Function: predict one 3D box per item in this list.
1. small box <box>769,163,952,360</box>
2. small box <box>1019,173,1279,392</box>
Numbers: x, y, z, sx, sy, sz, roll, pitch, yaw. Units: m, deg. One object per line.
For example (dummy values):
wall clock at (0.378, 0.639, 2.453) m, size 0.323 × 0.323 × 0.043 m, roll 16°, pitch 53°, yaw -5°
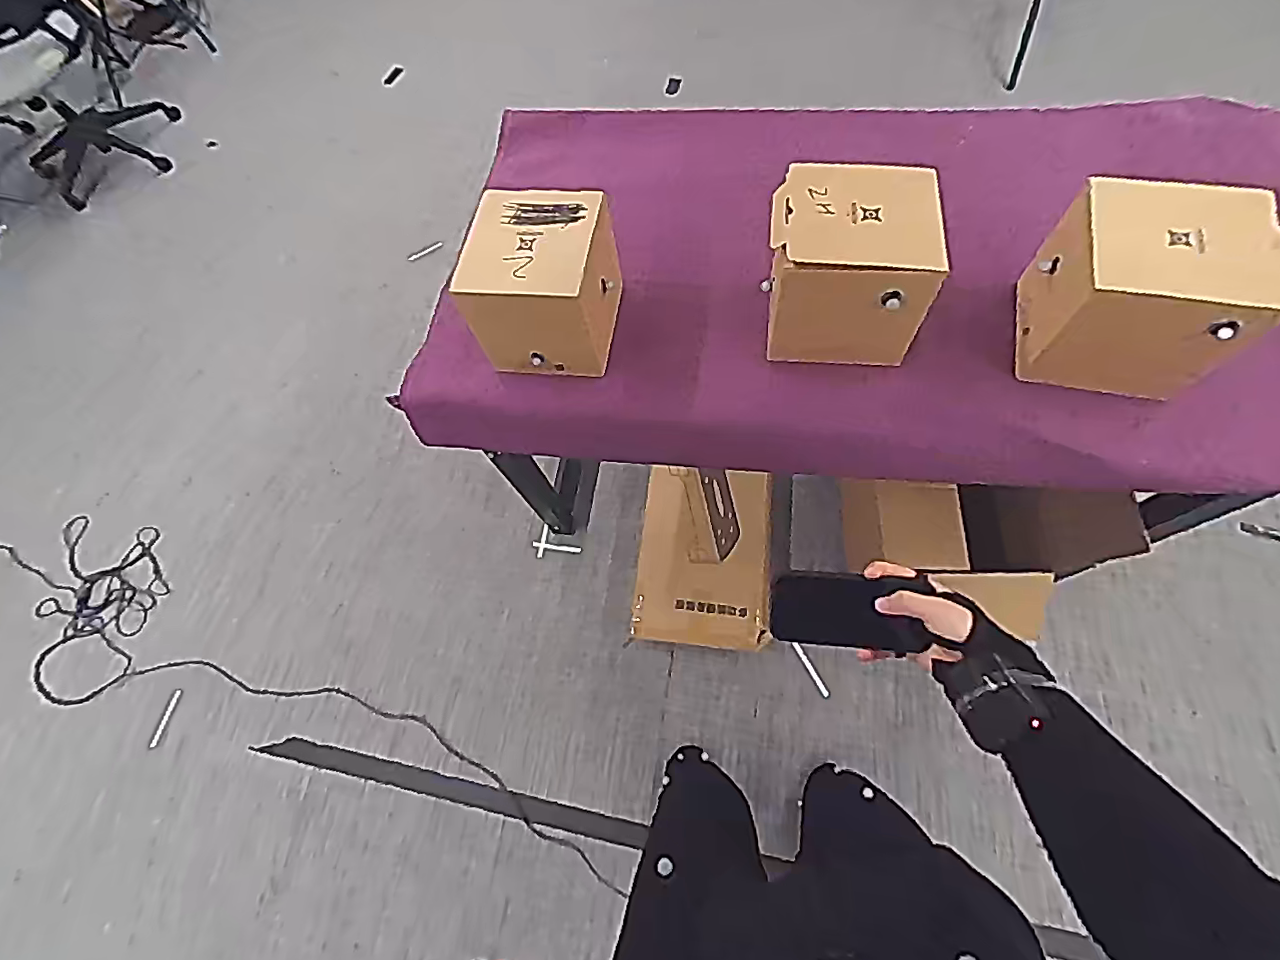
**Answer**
small box at (0.266, -0.270, 0.689) m, size 0.179 × 0.176 × 0.168 m, roll 5°, pitch 65°, yaw 9°
small box at (0.575, -0.221, 0.630) m, size 0.179 × 0.176 × 0.168 m, roll 12°, pitch 69°, yaw 12°
